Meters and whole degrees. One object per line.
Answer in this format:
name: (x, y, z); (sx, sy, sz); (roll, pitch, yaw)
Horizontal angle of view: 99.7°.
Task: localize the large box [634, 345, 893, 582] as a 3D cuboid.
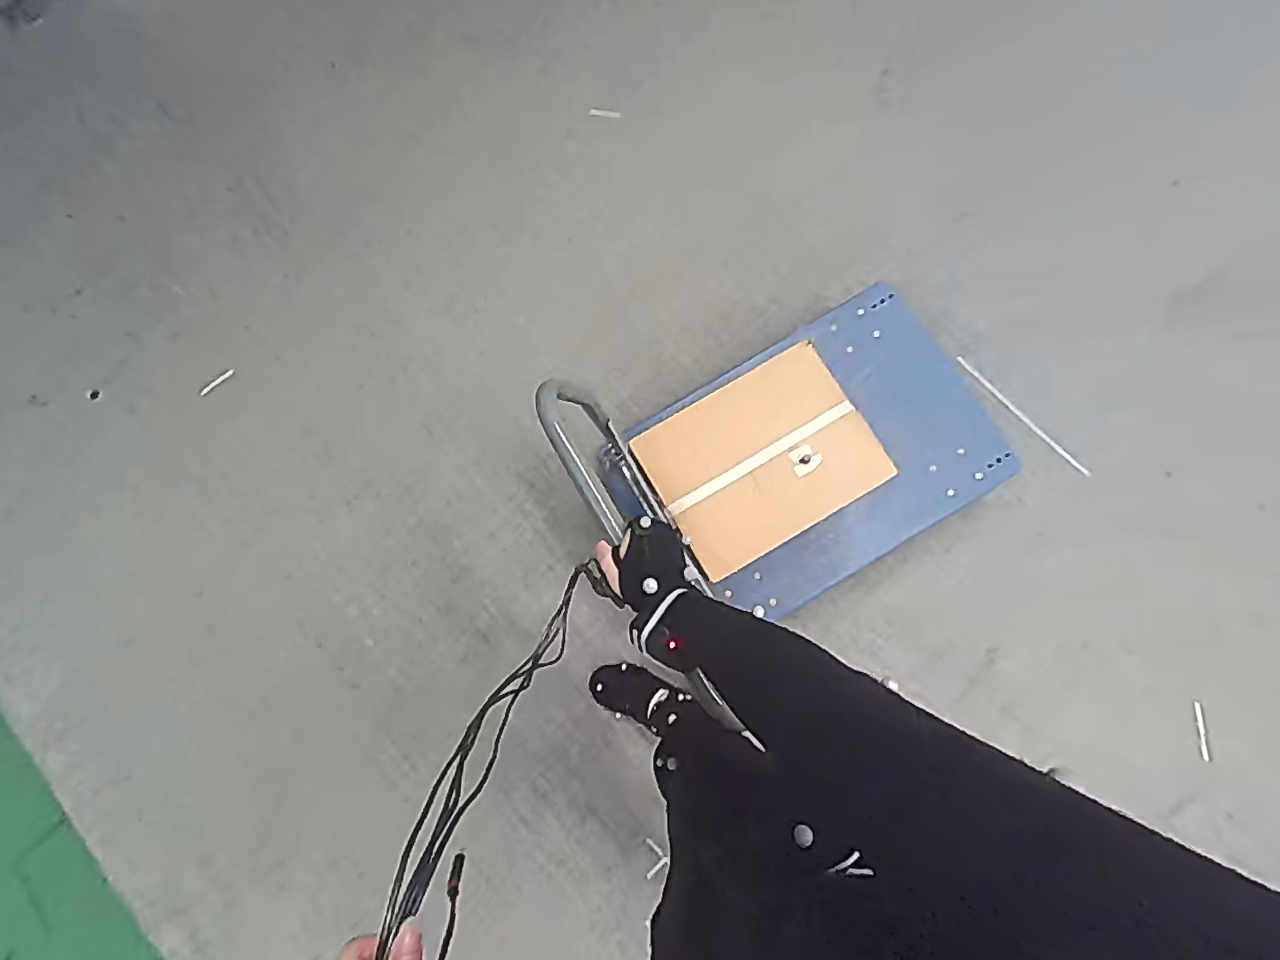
large box: (0.235, -0.011, 1.168); (0.408, 0.320, 0.320); (-30, 81, -4)
